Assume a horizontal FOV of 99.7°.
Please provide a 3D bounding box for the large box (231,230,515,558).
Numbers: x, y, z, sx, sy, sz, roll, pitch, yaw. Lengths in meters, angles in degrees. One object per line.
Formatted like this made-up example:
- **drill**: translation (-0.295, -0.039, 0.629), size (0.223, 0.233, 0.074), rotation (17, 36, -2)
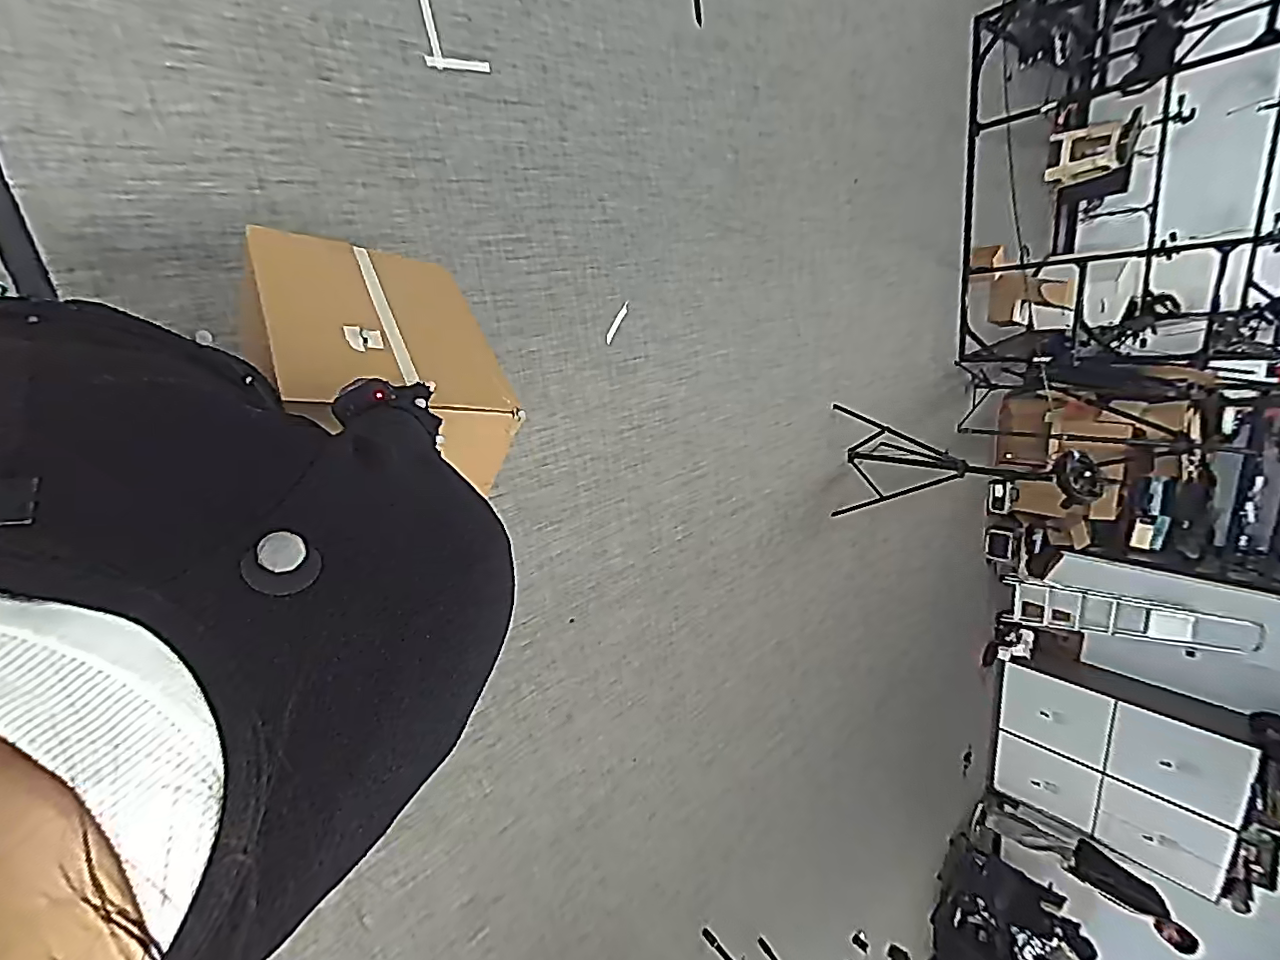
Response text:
- **large box**: translation (-0.464, -0.133, 0.897), size (0.320, 0.408, 0.320), rotation (-3, 141, -40)
